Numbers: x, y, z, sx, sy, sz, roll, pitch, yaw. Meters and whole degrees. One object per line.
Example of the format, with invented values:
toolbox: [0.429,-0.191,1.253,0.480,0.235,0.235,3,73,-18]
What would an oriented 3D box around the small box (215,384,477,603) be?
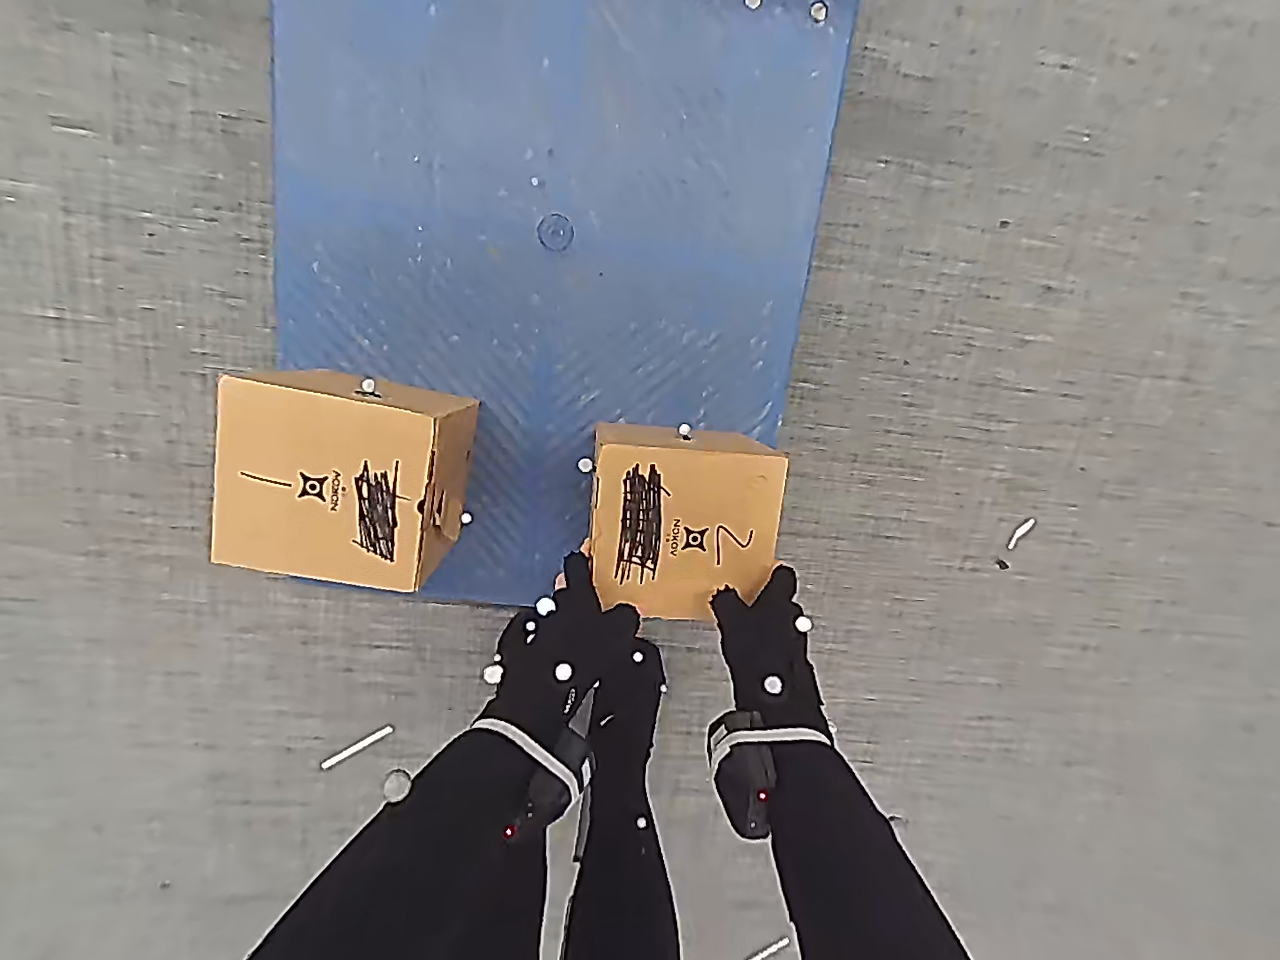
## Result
small box: [-0.274,0.001,0.540,0.179,0.176,0.168,11,101,-6]
